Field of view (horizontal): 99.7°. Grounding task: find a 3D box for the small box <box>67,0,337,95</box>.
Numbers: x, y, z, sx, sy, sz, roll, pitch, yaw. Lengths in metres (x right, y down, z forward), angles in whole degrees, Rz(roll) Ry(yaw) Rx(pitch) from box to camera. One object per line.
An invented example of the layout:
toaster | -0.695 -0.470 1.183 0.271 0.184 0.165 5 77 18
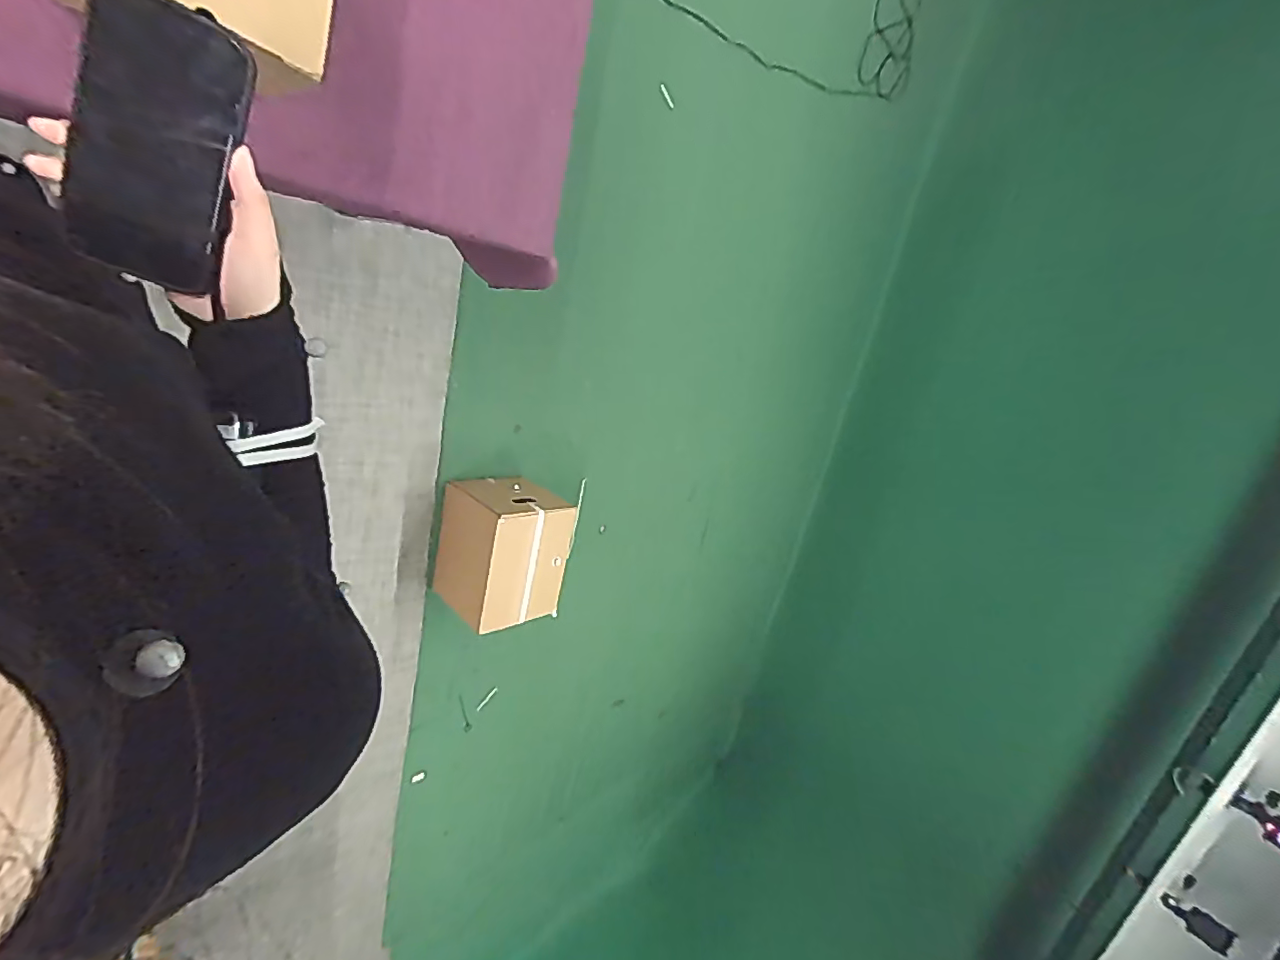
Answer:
small box | -0.366 -0.459 0.447 0.168 0.176 0.179 1 110 -49
